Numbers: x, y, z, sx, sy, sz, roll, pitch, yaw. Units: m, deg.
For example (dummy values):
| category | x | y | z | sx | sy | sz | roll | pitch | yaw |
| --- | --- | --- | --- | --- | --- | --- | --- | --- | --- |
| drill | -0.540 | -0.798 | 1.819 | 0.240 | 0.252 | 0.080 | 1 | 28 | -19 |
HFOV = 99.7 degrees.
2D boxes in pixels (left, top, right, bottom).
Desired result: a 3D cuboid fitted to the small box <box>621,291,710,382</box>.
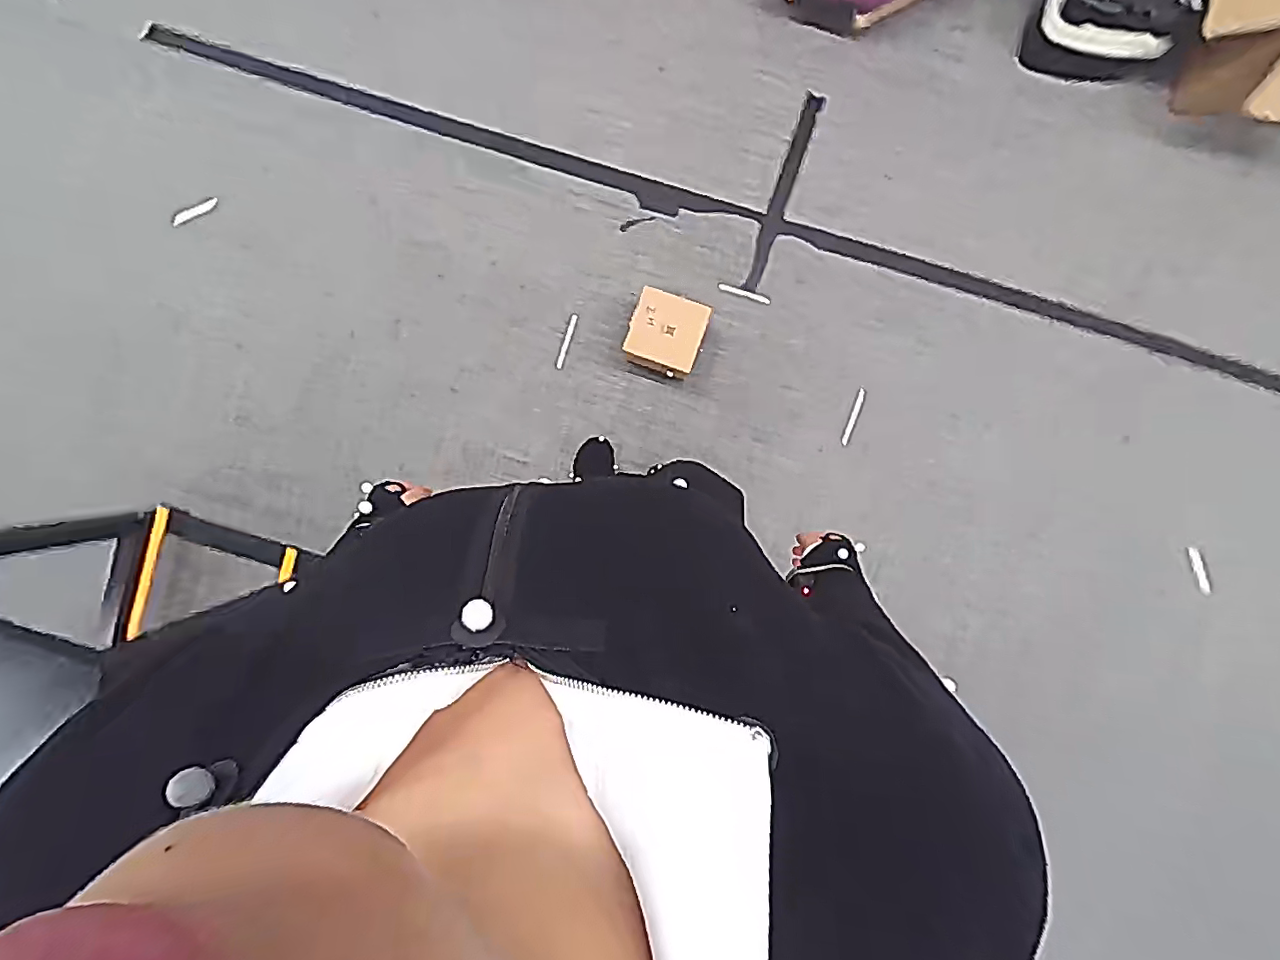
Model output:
| category | x | y | z | sx | sy | sz | roll | pitch | yaw |
| --- | --- | --- | --- | --- | --- | --- | --- | --- | --- |
| small box | 0.064 | -0.360 | 1.389 | 0.179 | 0.176 | 0.168 | 20 | 94 | 1 |
